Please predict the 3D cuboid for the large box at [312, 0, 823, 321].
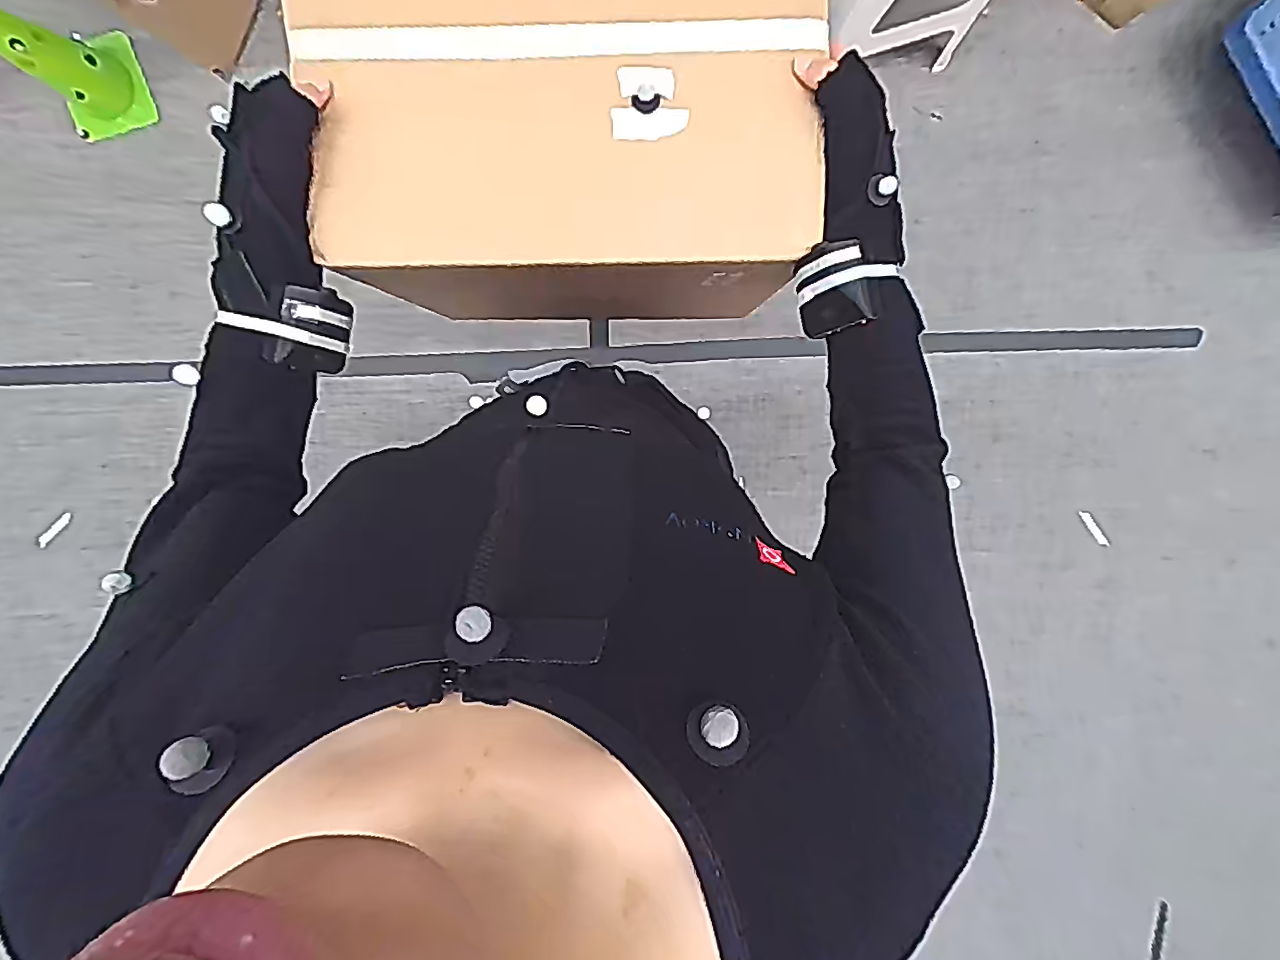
[{"bbox_3d":[-0.057,-0.355,0.570,0.408,0.320,0.320,-1,98,0],"label":"large box"}]
